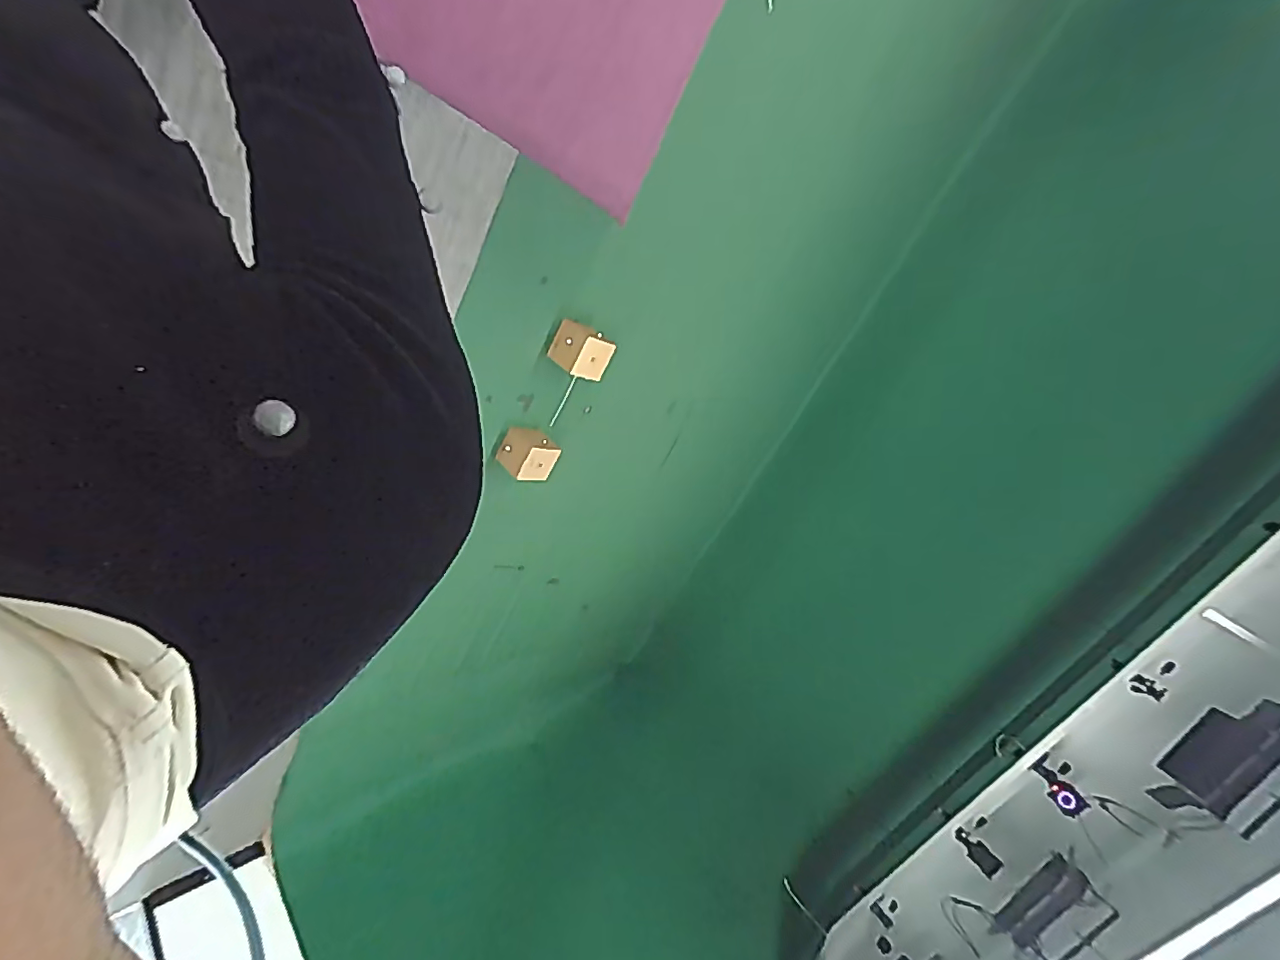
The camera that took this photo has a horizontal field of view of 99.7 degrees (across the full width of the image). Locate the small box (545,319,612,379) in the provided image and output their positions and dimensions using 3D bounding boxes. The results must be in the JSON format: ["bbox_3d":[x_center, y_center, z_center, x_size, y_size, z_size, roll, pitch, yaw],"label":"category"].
[{"bbox_3d":[-0.253,-0.530,2.183,0.179,0.176,0.168,0,125,-55],"label":"small box"}]

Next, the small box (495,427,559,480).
[{"bbox_3d":[-0.492,-0.117,2.341,0.179,0.176,0.168,2,123,-55],"label":"small box"}]
